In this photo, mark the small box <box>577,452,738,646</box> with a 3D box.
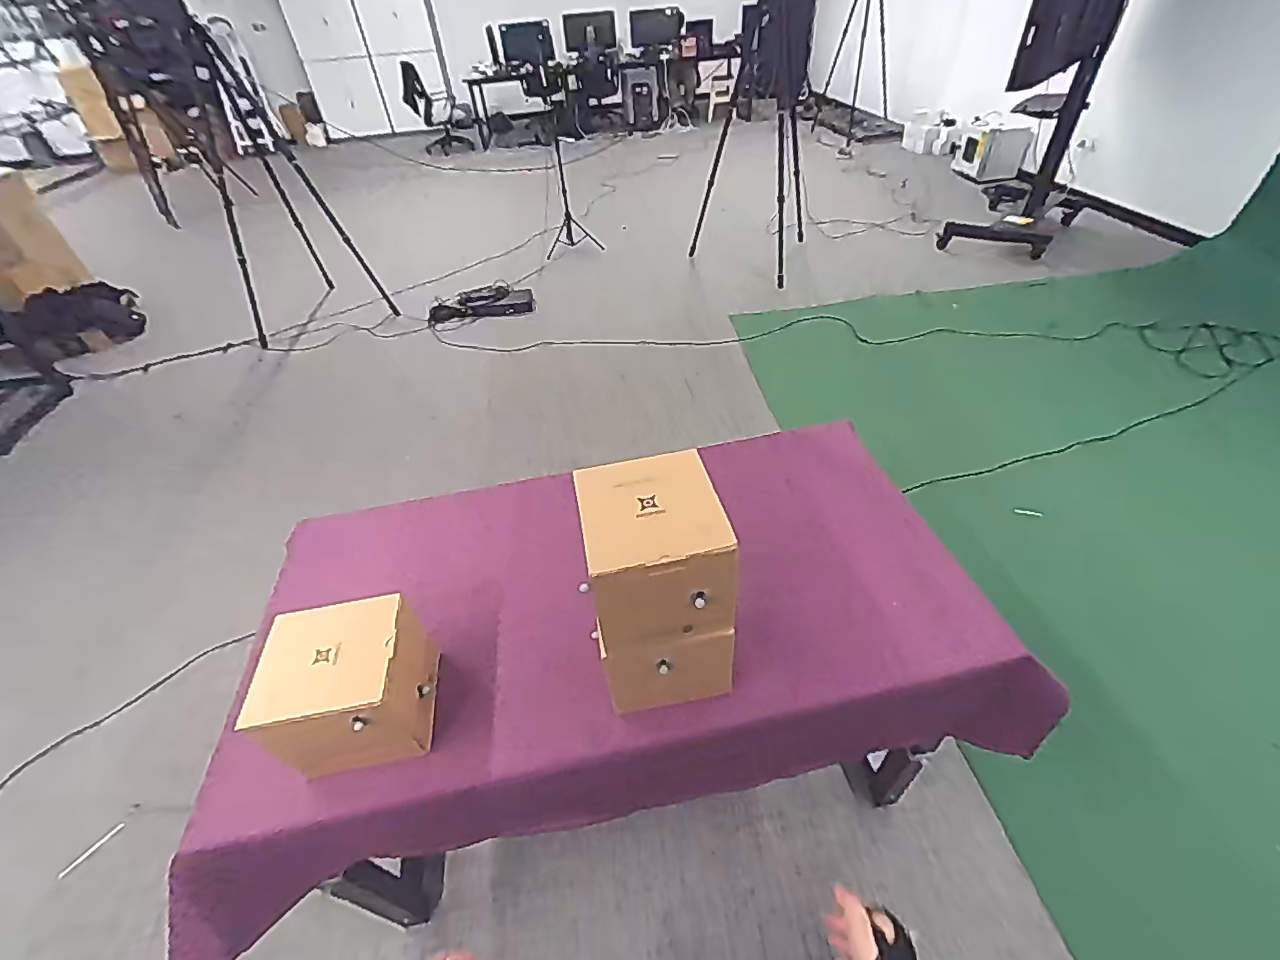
[{"bbox_3d":[0.019,0.092,0.691,0.168,0.176,0.179,-10,42,-6],"label":"small box"}]

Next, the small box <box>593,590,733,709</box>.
[{"bbox_3d":[0.031,0.216,0.797,0.179,0.176,0.168,-9,44,-4],"label":"small box"}]

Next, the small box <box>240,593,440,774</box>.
[{"bbox_3d":[-0.403,0.289,0.764,0.179,0.176,0.168,-9,43,-6],"label":"small box"}]
